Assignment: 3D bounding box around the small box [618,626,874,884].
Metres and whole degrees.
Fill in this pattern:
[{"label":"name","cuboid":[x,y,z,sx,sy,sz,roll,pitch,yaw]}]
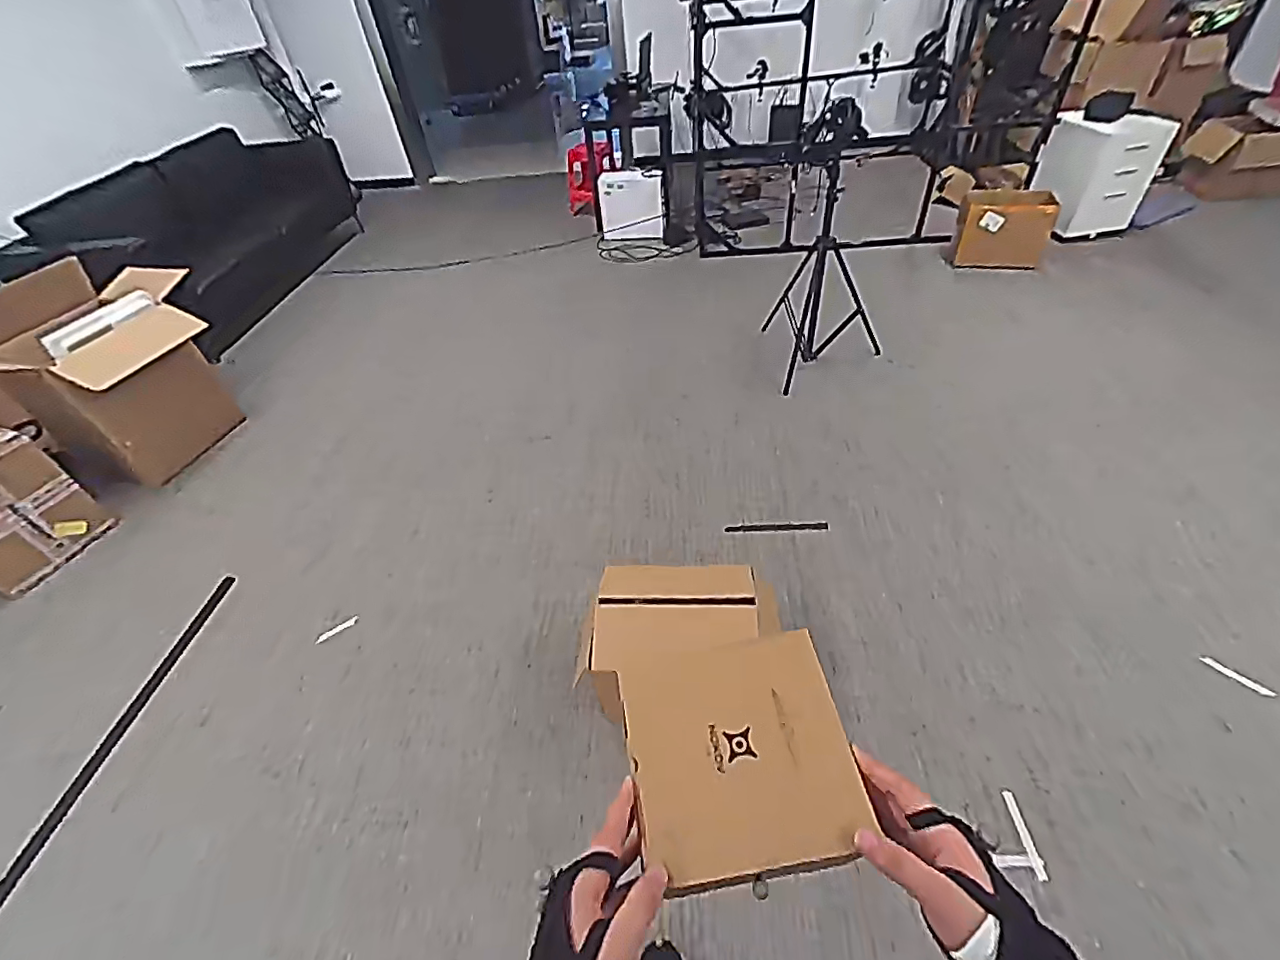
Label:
[{"label":"small box","cuboid":[0.087,0.262,0.506,0.179,0.176,0.168,-12,51,0]}]
